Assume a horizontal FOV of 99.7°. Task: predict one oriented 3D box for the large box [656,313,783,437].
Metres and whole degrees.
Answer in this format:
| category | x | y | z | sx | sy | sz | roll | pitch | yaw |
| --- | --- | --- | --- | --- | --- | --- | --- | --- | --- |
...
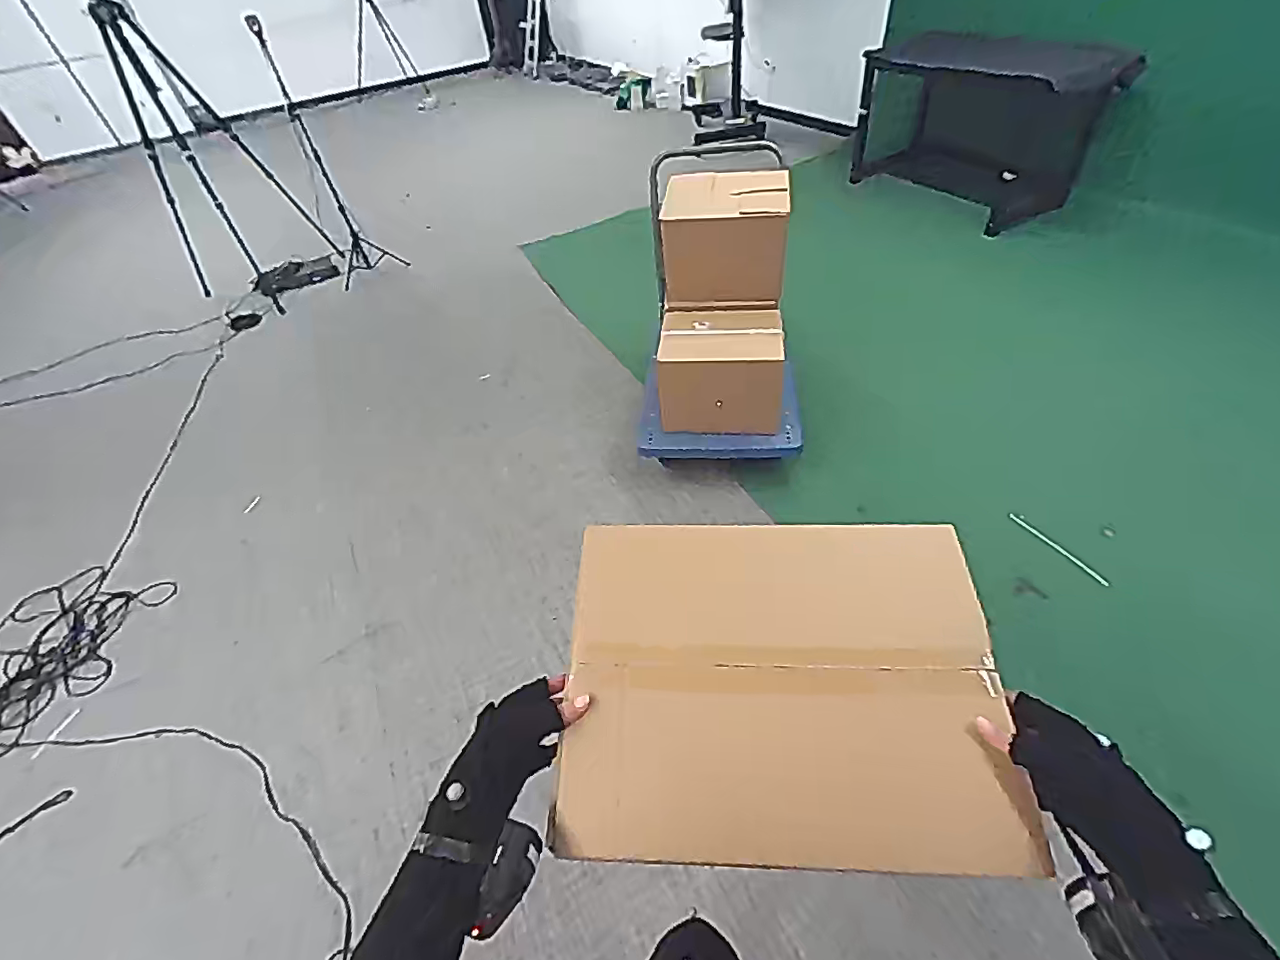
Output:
| category | x | y | z | sx | sy | sz | roll | pitch | yaw |
| --- | --- | --- | --- | --- | --- | --- | --- | --- | --- |
| large box | 0.283 | -0.366 | 1.903 | 0.408 | 0.320 | 0.320 | 1 | 46 | 11 |
